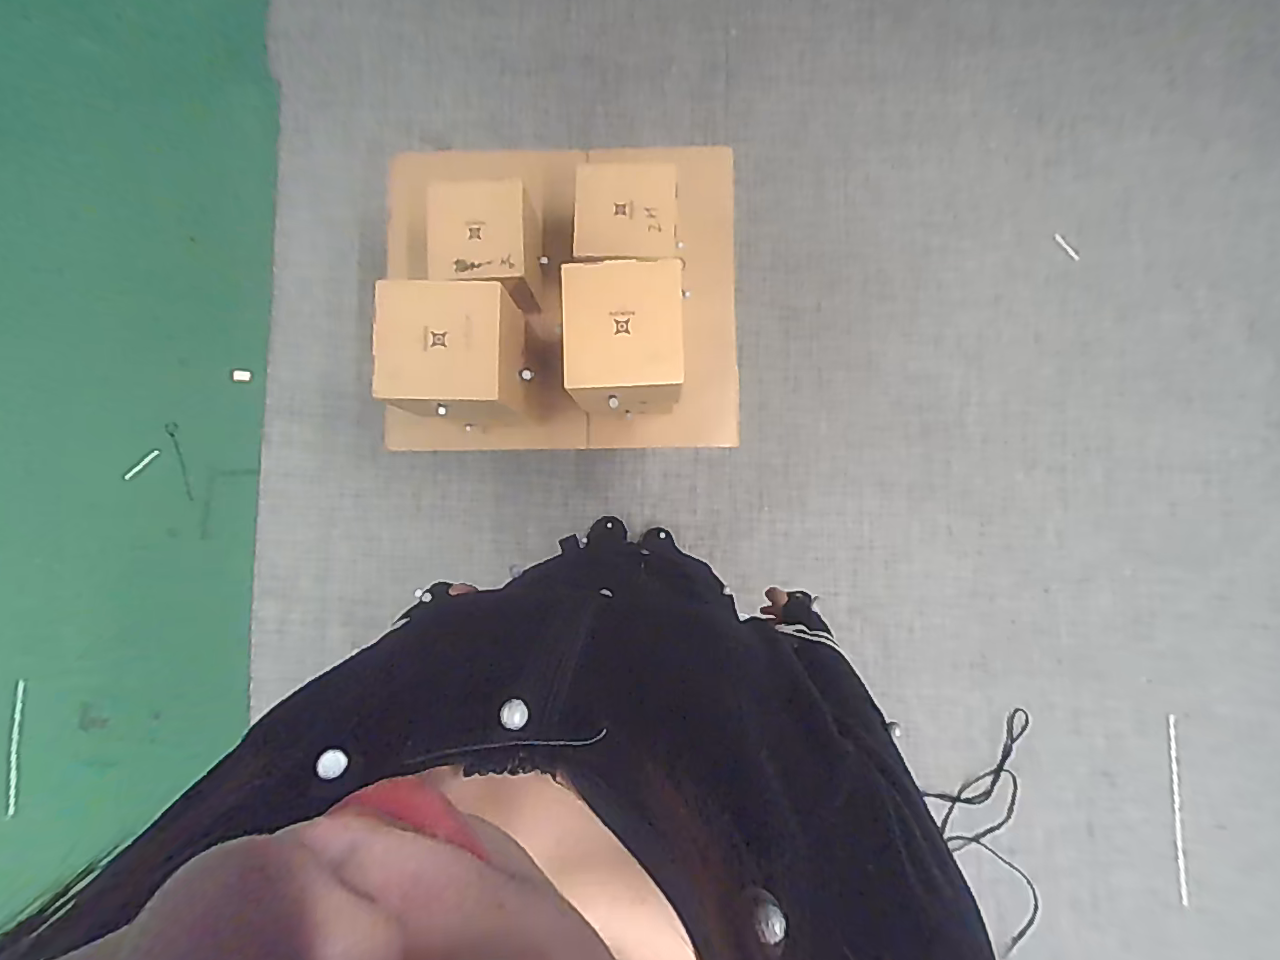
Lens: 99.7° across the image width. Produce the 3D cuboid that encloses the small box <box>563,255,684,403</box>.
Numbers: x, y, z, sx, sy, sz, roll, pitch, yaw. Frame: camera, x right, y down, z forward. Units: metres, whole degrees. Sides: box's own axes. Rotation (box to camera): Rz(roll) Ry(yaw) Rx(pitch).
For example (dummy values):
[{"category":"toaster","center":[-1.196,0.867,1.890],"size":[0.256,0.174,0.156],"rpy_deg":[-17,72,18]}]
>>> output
[{"category":"small box","center":[-0.018,-0.213,0.810],"size":[0.168,0.176,0.179],"rpy_deg":[-2,87,2]}]

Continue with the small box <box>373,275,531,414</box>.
[{"category":"small box","center":[-0.272,-0.194,0.816],"size":[0.179,0.176,0.168],"rpy_deg":[2,89,1]}]

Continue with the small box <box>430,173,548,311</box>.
[{"category":"small box","center":[-0.268,-0.425,0.989],"size":[0.168,0.176,0.179],"rpy_deg":[-1,86,3]}]
